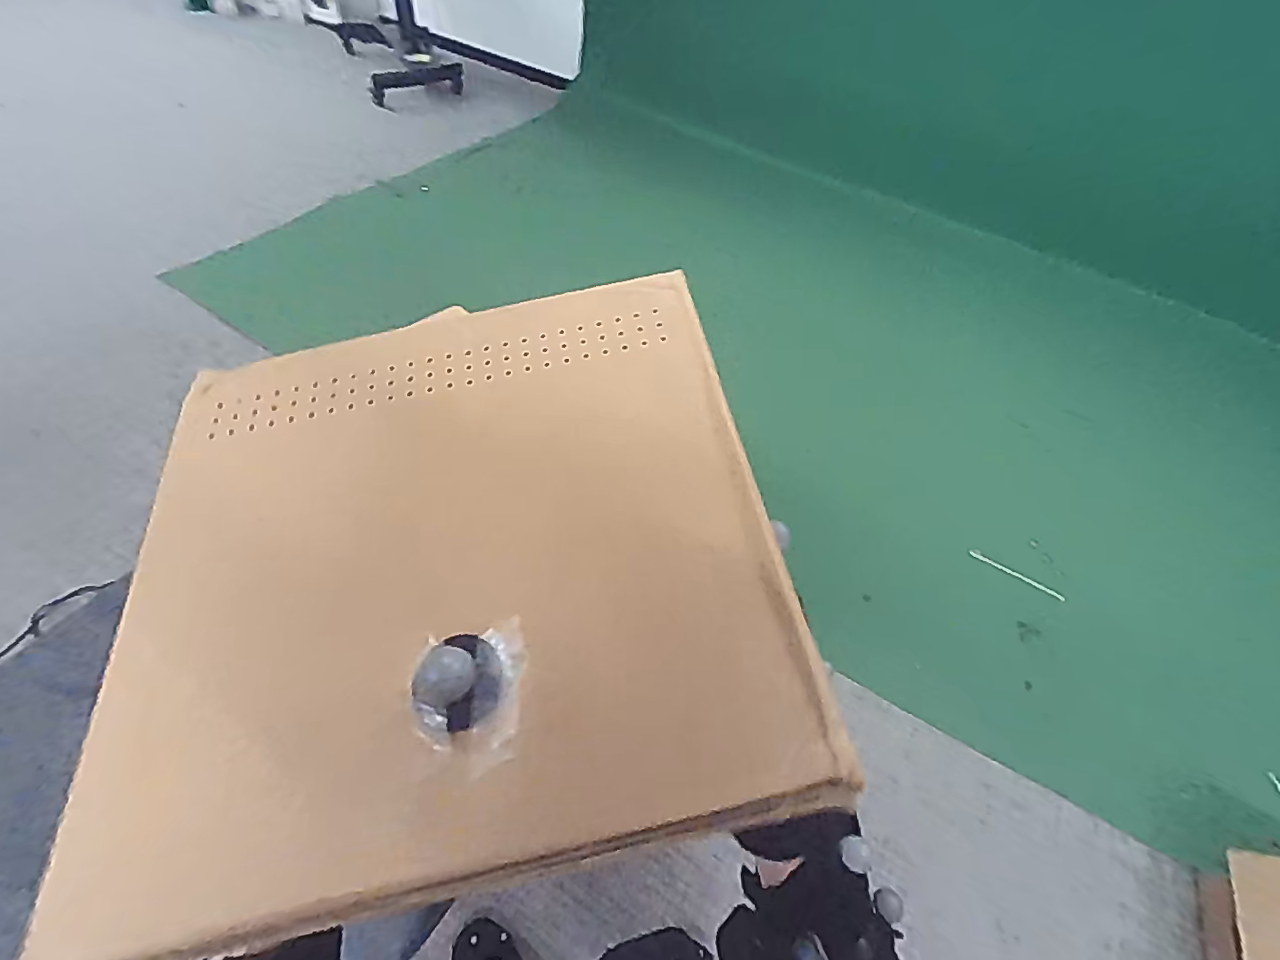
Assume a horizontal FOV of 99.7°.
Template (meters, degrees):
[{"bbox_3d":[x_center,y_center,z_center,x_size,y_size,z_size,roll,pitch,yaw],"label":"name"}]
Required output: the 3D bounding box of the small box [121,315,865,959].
[{"bbox_3d":[-0.043,0.057,0.226,0.179,0.168,0.176,-14,59,-2],"label":"small box"}]

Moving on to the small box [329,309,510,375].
[{"bbox_3d":[-0.224,-0.067,0.651,0.168,0.176,0.179,37,56,18],"label":"small box"}]
